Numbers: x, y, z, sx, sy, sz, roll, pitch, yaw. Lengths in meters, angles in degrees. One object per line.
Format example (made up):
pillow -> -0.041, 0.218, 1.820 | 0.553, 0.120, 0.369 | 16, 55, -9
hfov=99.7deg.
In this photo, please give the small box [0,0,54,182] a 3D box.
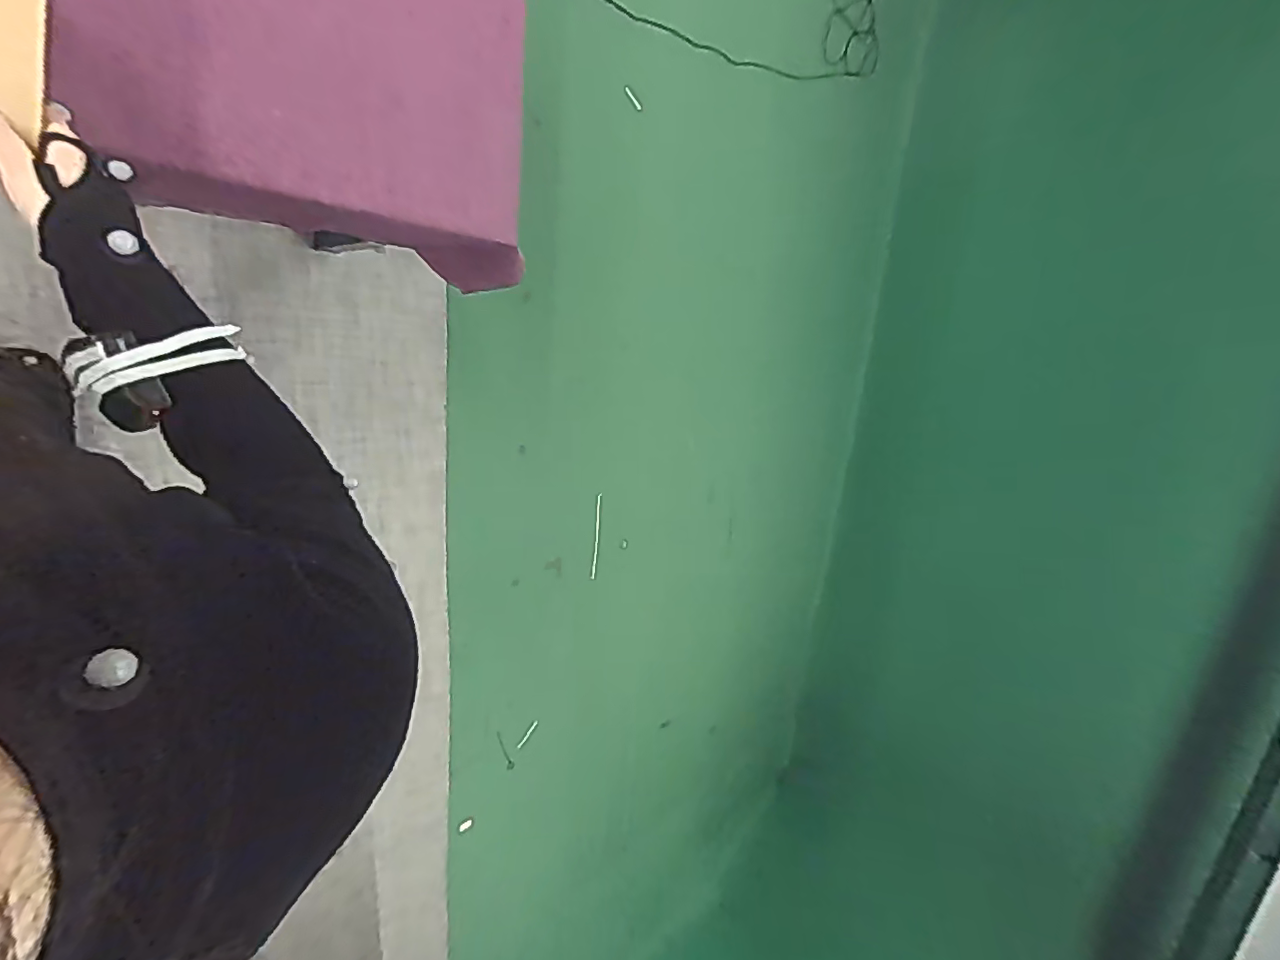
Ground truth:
small box -> -0.527, -0.323, 0.363 | 0.179, 0.176, 0.168 | 2, 102, -48
